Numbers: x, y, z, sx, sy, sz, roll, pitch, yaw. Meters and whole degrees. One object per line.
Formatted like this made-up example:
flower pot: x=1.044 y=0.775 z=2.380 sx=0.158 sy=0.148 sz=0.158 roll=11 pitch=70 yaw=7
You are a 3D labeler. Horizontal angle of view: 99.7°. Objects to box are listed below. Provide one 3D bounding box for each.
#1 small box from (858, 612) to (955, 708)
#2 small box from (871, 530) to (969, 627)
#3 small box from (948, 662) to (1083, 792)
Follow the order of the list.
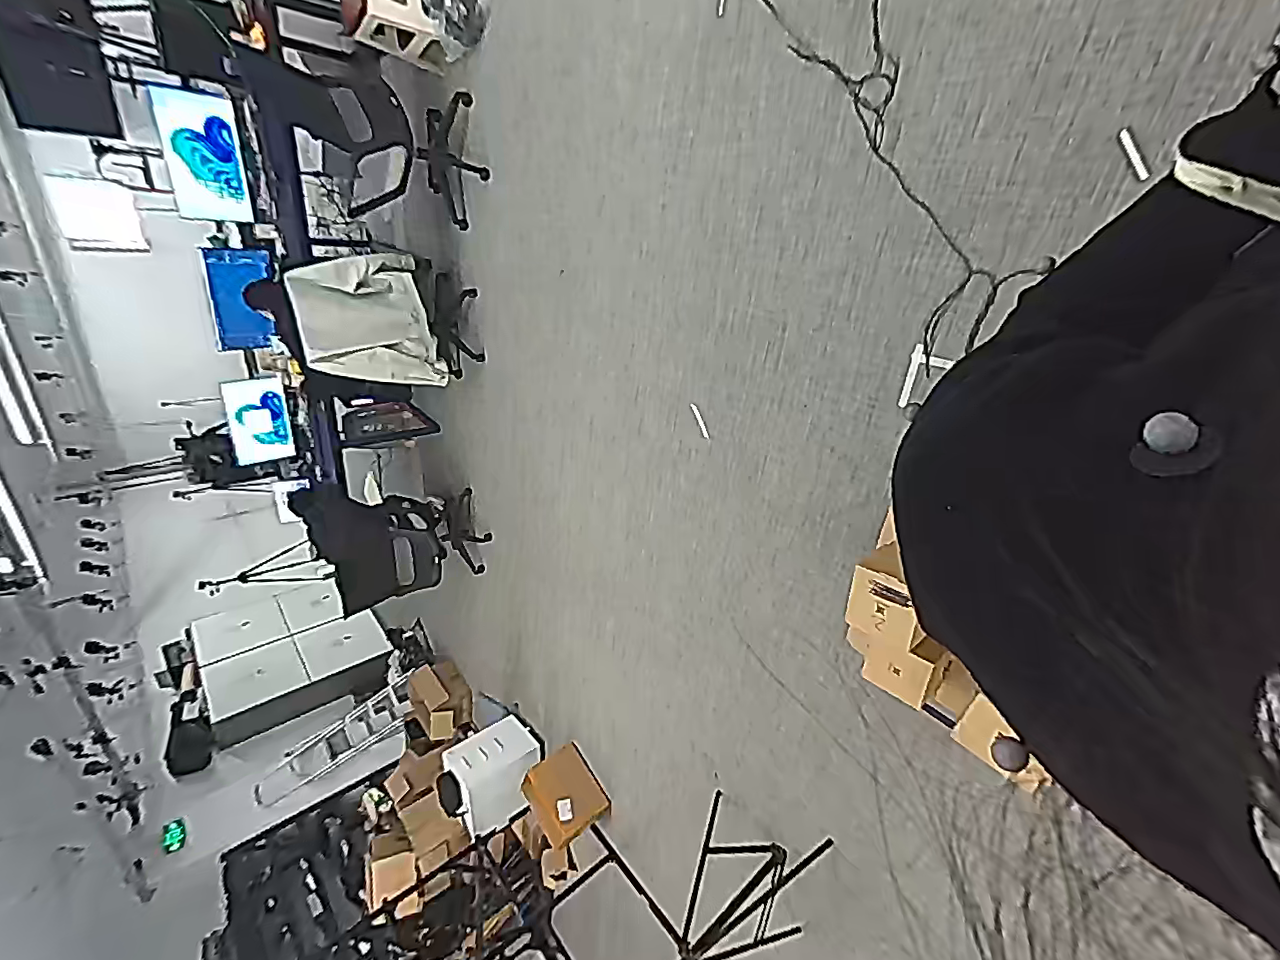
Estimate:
small box: x=0.761 y=0.503 z=1.546 sx=0.179 sy=0.176 sz=0.168 roll=25 pitch=123 yaw=41
small box: x=0.757 y=0.256 z=1.458 sx=0.168 sy=0.176 sz=0.179 roll=26 pitch=122 yaw=42
small box: x=0.836 y=0.536 z=1.206 sx=0.179 sy=0.176 sz=0.168 roll=34 pitch=127 yaw=36
